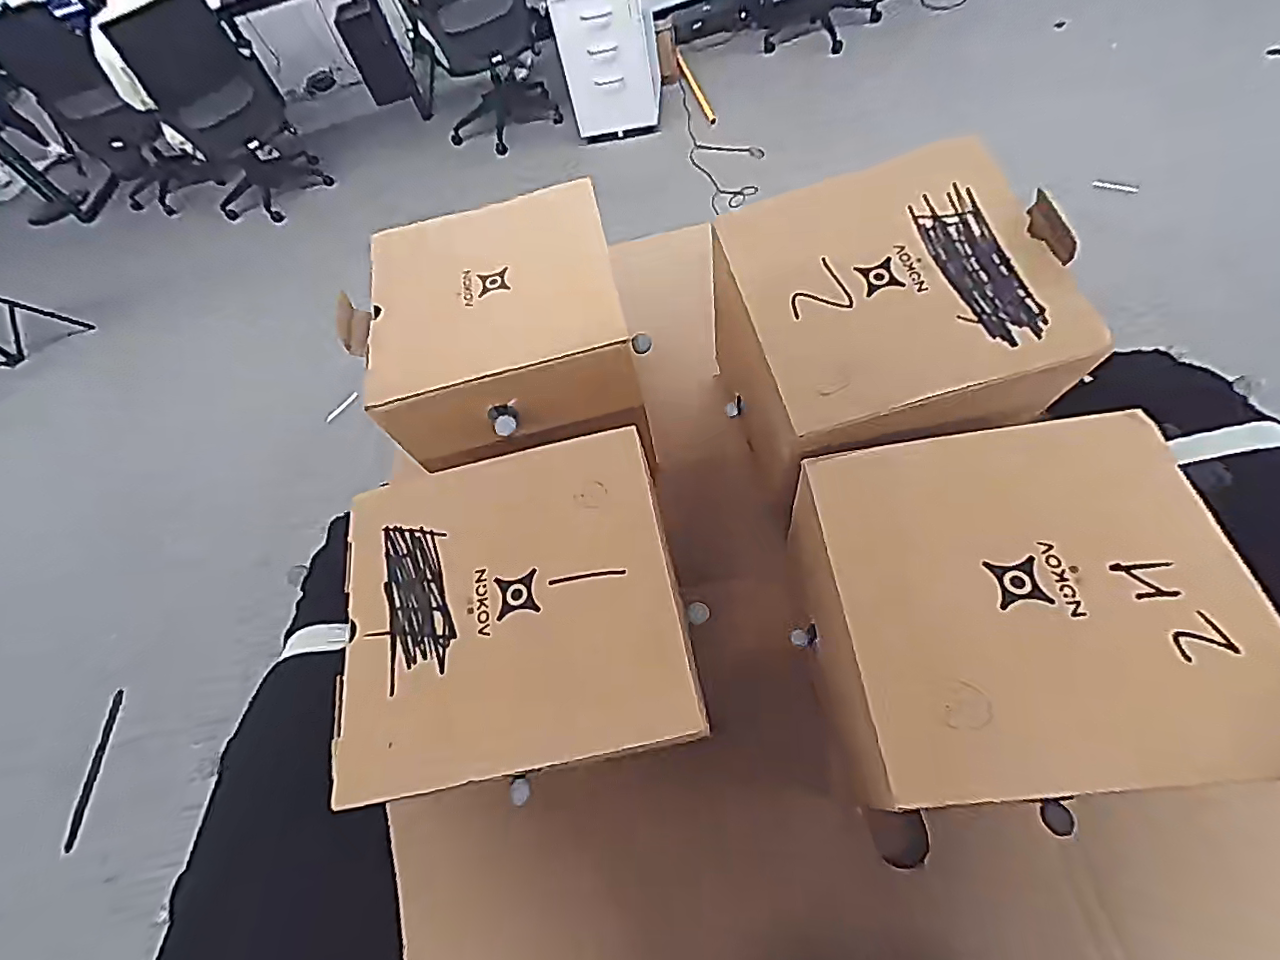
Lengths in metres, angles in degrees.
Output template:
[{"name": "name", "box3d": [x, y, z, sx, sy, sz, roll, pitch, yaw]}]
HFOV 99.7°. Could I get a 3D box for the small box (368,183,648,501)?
[{"name": "small box", "box3d": [-0.095, -0.102, 0.453, 0.179, 0.176, 0.168, -14, 62, 3]}]
